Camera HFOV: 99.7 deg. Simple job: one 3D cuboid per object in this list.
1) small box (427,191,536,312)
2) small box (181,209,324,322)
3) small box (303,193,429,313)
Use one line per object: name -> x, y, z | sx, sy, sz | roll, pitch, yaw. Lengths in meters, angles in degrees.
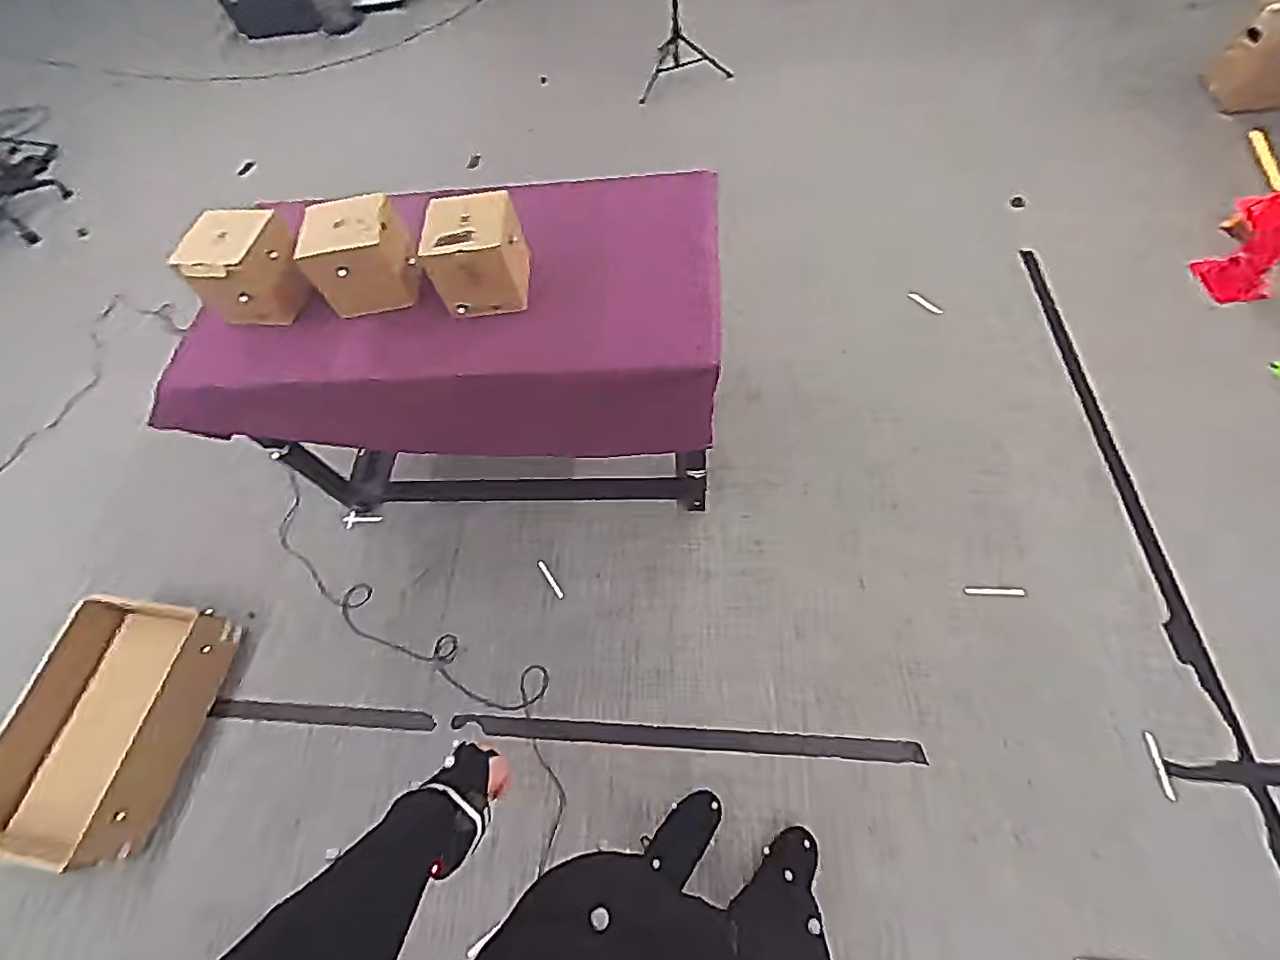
small box -> -0.325, -0.473, 1.144 | 0.168, 0.176, 0.179 | -4, 61, 4
small box -> -0.847, -0.474, 1.206 | 0.168, 0.176, 0.179 | 4, 63, 8
small box -> -0.587, -0.487, 1.182 | 0.179, 0.176, 0.168 | -8, 62, 2
